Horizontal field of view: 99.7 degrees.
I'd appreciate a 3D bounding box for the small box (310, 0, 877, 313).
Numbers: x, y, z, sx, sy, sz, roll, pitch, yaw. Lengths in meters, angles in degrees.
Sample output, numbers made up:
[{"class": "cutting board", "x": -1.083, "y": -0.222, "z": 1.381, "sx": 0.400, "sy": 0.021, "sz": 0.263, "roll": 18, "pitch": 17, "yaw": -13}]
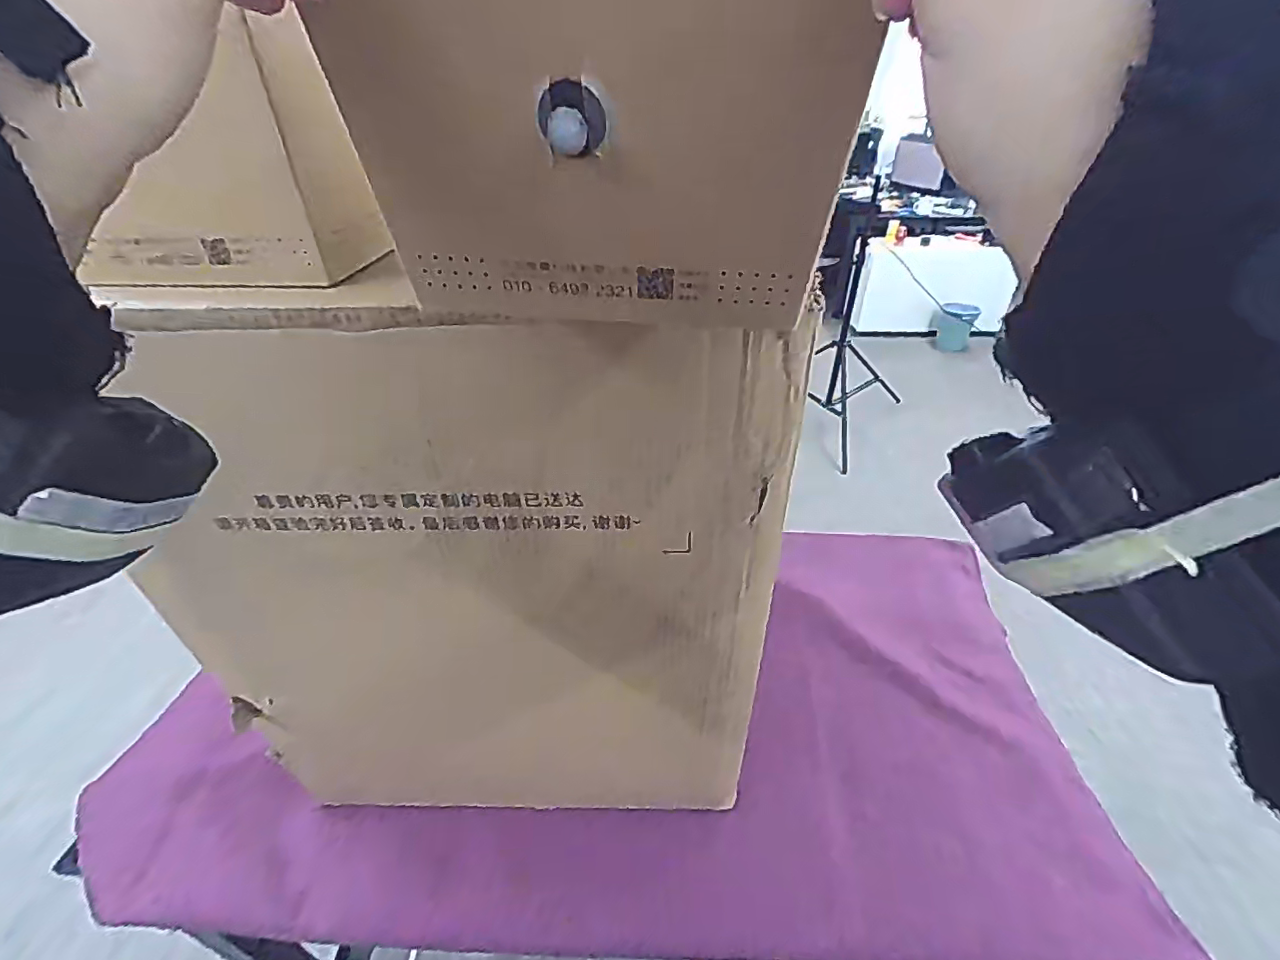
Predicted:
[{"class": "small box", "x": -0.007, "y": -0.186, "z": 0.212, "sx": 0.168, "sy": 0.176, "sz": 0.179, "roll": 5, "pitch": 56, "yaw": 3}]
